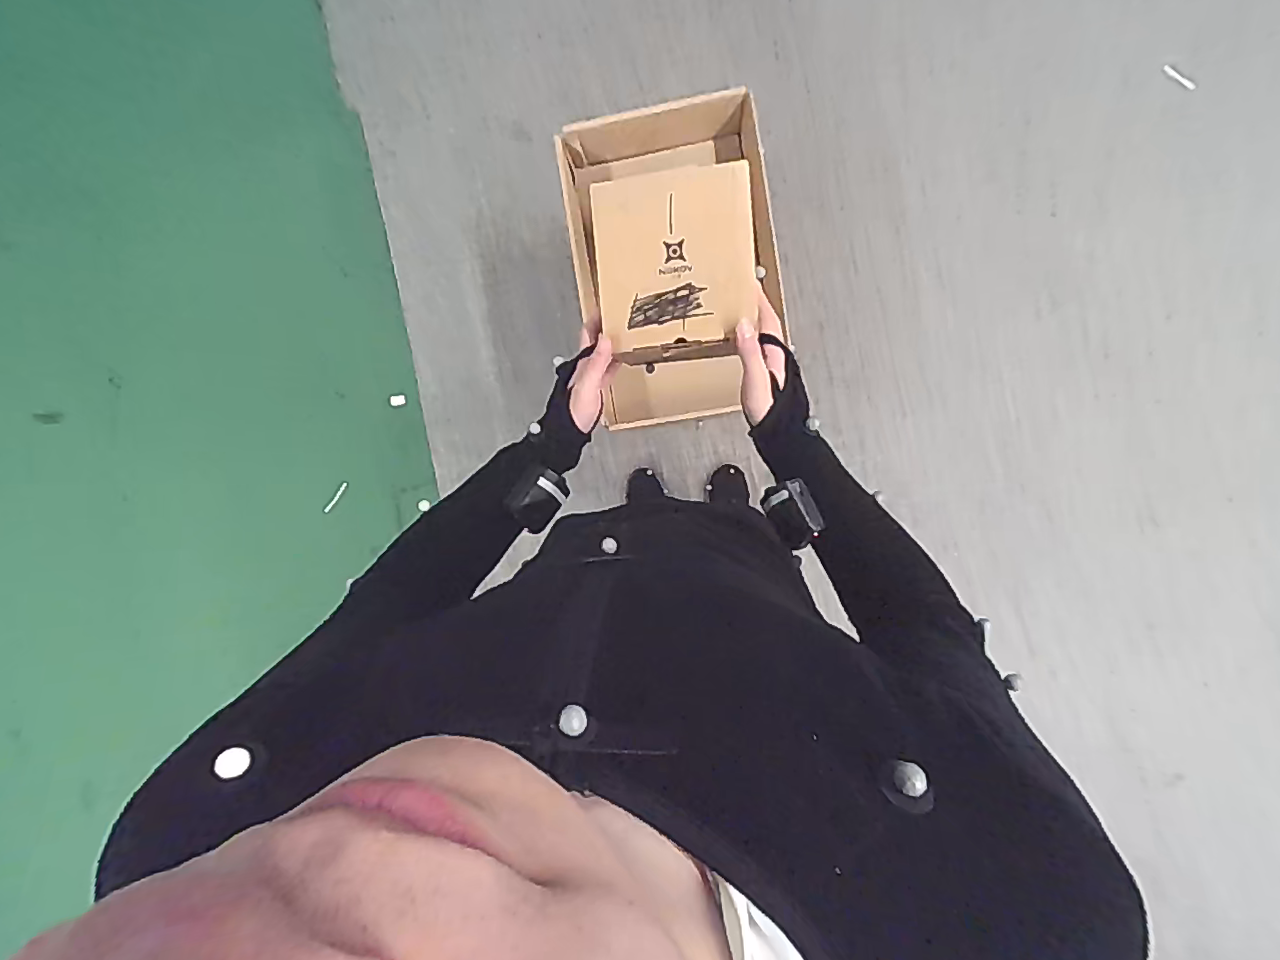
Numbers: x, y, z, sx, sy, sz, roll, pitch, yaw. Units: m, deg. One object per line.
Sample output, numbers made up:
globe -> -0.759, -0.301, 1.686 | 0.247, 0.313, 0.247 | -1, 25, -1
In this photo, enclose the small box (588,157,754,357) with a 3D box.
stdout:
small box -> 0.044, -0.241, 0.636 | 0.168, 0.176, 0.179 | -4, 96, 8
